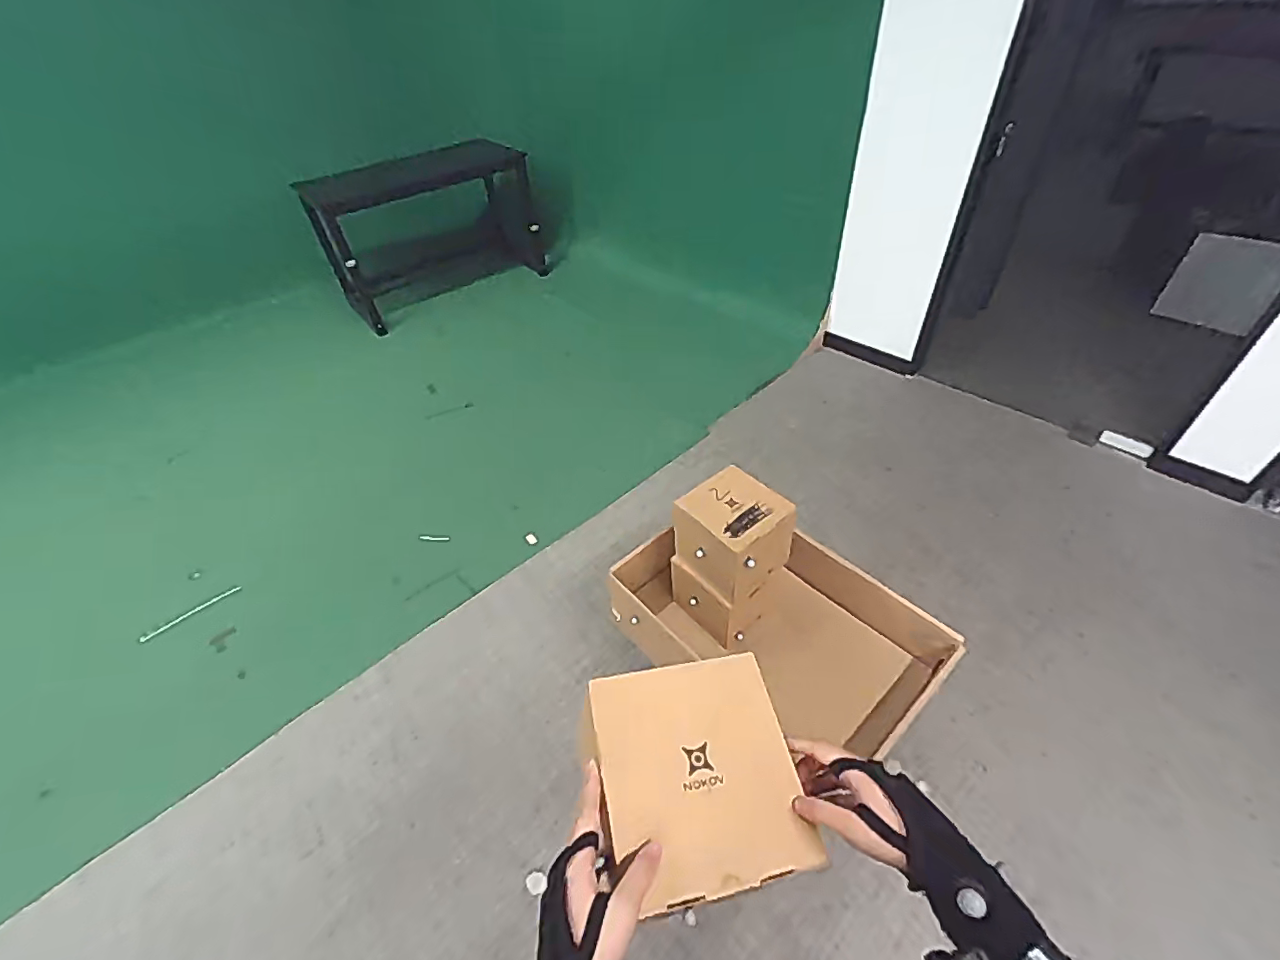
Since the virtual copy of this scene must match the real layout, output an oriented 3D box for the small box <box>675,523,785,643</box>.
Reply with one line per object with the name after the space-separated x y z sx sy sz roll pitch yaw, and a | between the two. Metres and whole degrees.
0.198 0.235 1.204 0.168 0.176 0.179 -32 49 -25 | small box
